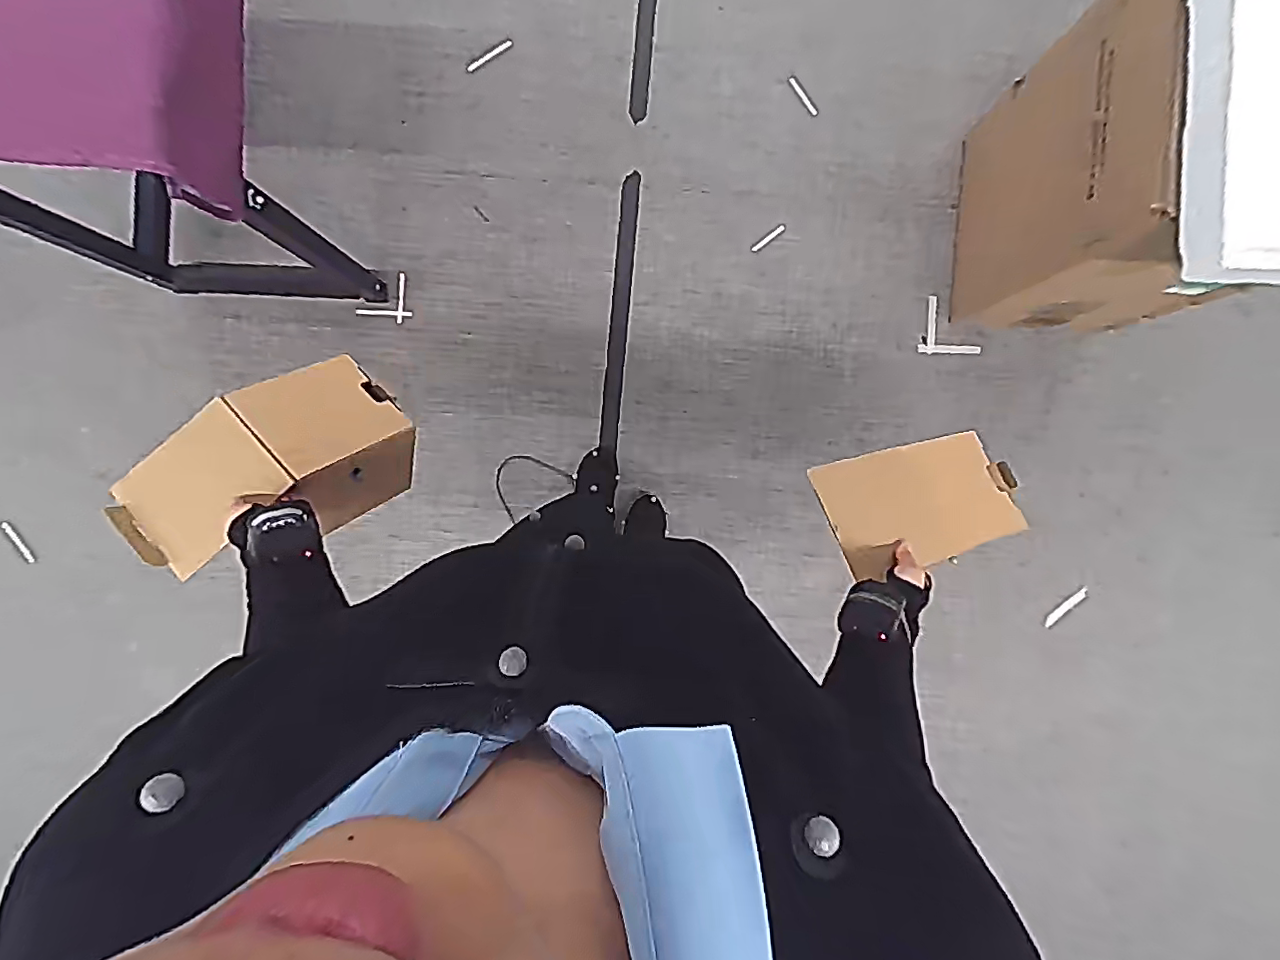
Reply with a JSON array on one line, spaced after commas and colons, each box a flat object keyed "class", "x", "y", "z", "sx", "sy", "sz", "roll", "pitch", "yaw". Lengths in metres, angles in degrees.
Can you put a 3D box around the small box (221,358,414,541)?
[{"class": "small box", "x": -0.457, "y": -0.041, "z": 0.789, "sx": 0.168, "sy": 0.176, "sz": 0.179, "roll": 45, "pitch": 48, "yaw": 10}]
